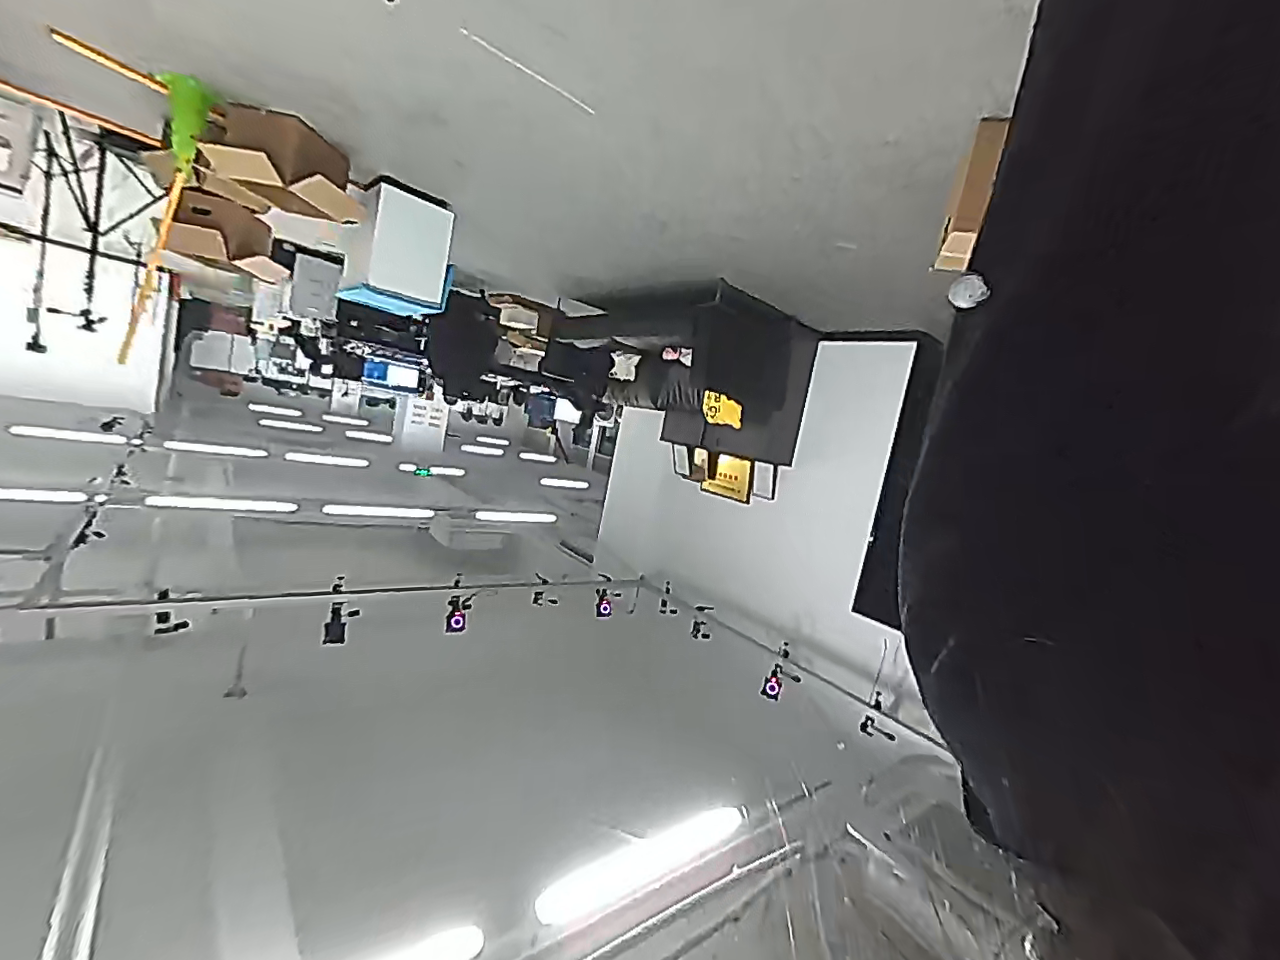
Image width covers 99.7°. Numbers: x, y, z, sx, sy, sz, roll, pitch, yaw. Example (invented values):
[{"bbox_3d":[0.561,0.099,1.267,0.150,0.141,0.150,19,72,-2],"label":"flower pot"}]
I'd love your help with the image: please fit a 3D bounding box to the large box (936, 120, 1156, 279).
[{"bbox_3d":[1.154,-0.812,1.587,0.408,0.320,0.320,15,-174,19],"label":"large box"}]
